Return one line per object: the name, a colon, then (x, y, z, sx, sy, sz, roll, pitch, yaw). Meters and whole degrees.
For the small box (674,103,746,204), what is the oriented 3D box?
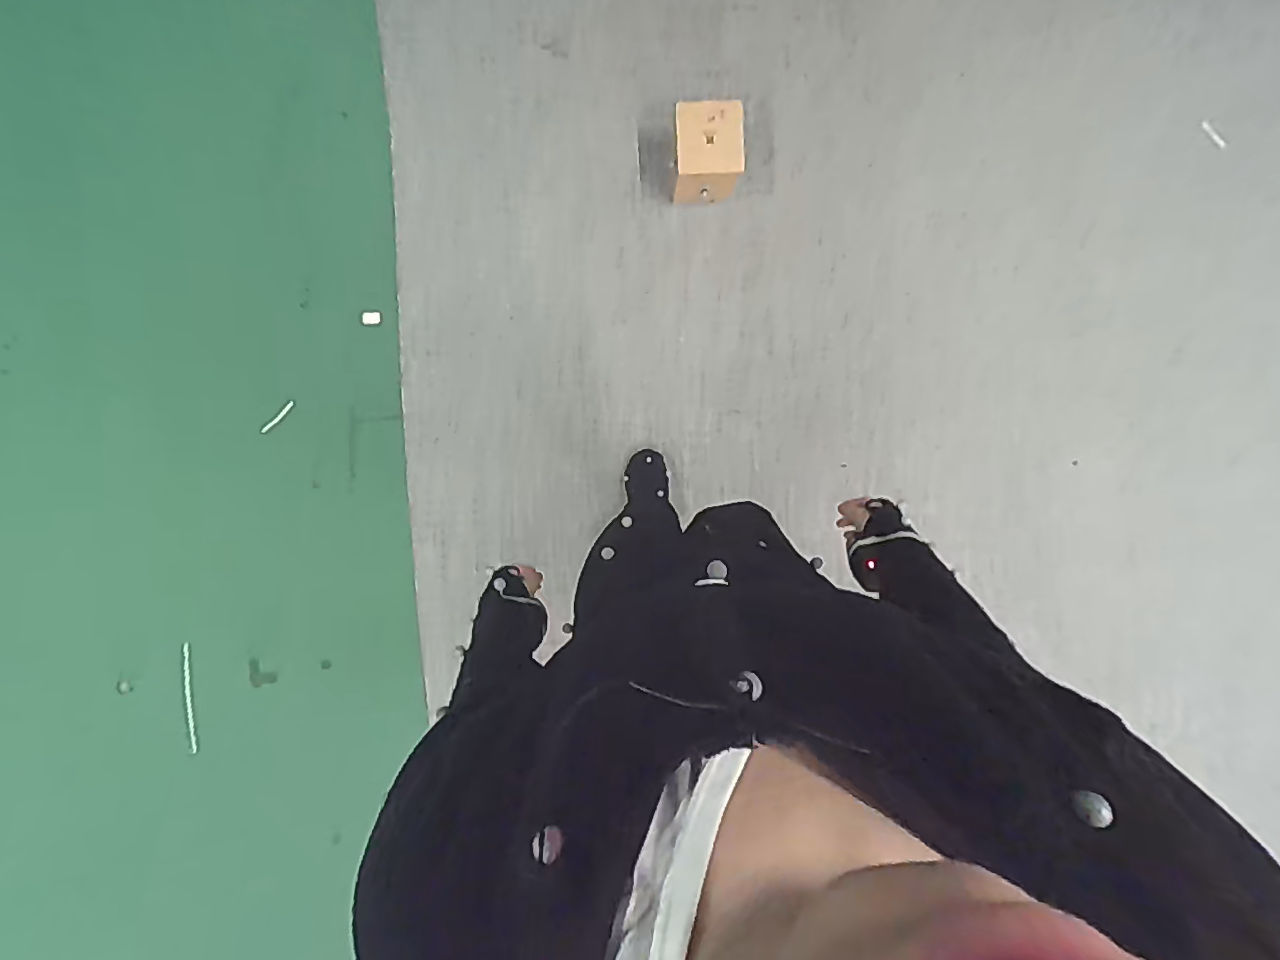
small box: (0.177, -0.836, 1.402, 0.168, 0.176, 0.179, -2, 92, -1)
